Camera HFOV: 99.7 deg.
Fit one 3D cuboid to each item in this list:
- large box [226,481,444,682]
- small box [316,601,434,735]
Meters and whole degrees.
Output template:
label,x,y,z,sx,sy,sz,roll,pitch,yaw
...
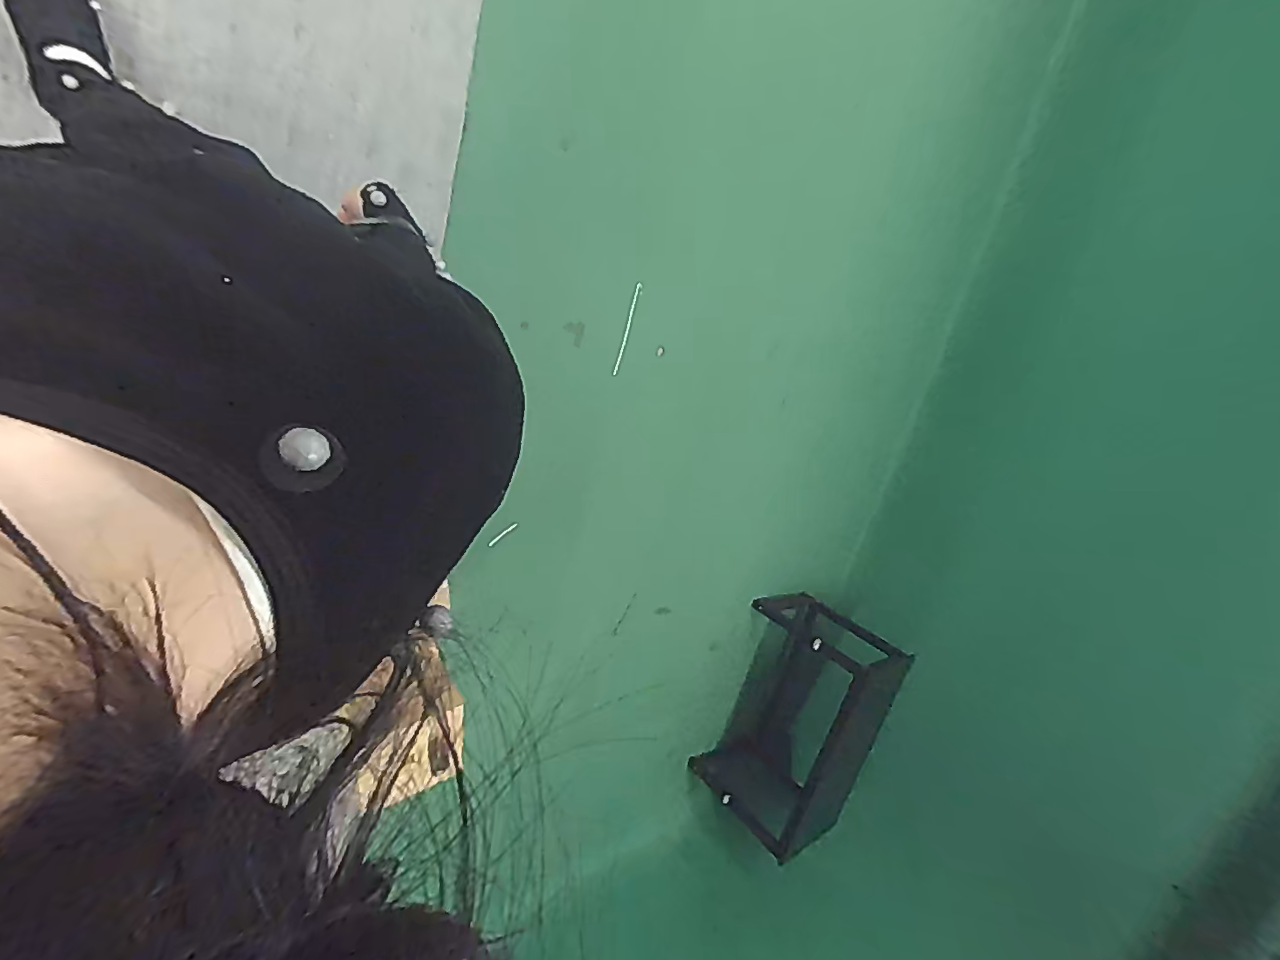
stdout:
label,x,y,z,sx,sy,sz,roll,pitch,yaw
large box,-0.776,0.233,1.404,0.408,0.320,0.320,-16,123,-38
small box,-0.539,0.368,1.098,0.179,0.176,0.168,-7,116,-40
